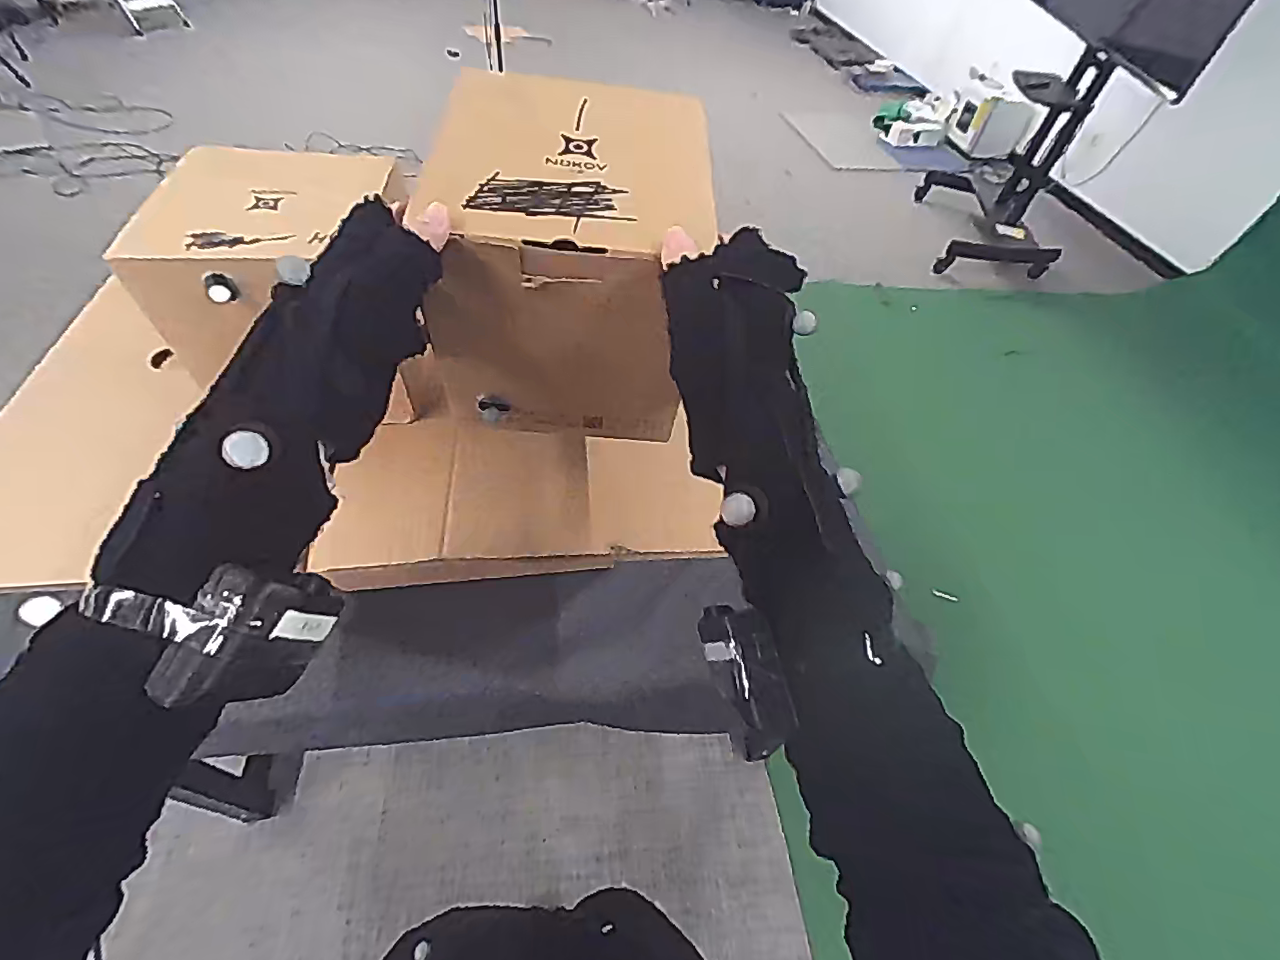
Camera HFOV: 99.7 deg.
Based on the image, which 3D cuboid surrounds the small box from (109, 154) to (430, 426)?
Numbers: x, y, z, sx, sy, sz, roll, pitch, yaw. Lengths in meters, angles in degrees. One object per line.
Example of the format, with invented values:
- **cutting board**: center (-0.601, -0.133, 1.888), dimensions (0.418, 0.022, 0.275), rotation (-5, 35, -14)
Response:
- **small box**: center (-0.298, -0.168, 0.491), dimensions (0.168, 0.176, 0.179), rotation (-3, 52, -8)

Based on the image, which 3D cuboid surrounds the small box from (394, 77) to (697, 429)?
- **small box**: center (-0.055, -0.154, 0.398), dimensions (0.168, 0.176, 0.179), rotation (3, 58, -5)
